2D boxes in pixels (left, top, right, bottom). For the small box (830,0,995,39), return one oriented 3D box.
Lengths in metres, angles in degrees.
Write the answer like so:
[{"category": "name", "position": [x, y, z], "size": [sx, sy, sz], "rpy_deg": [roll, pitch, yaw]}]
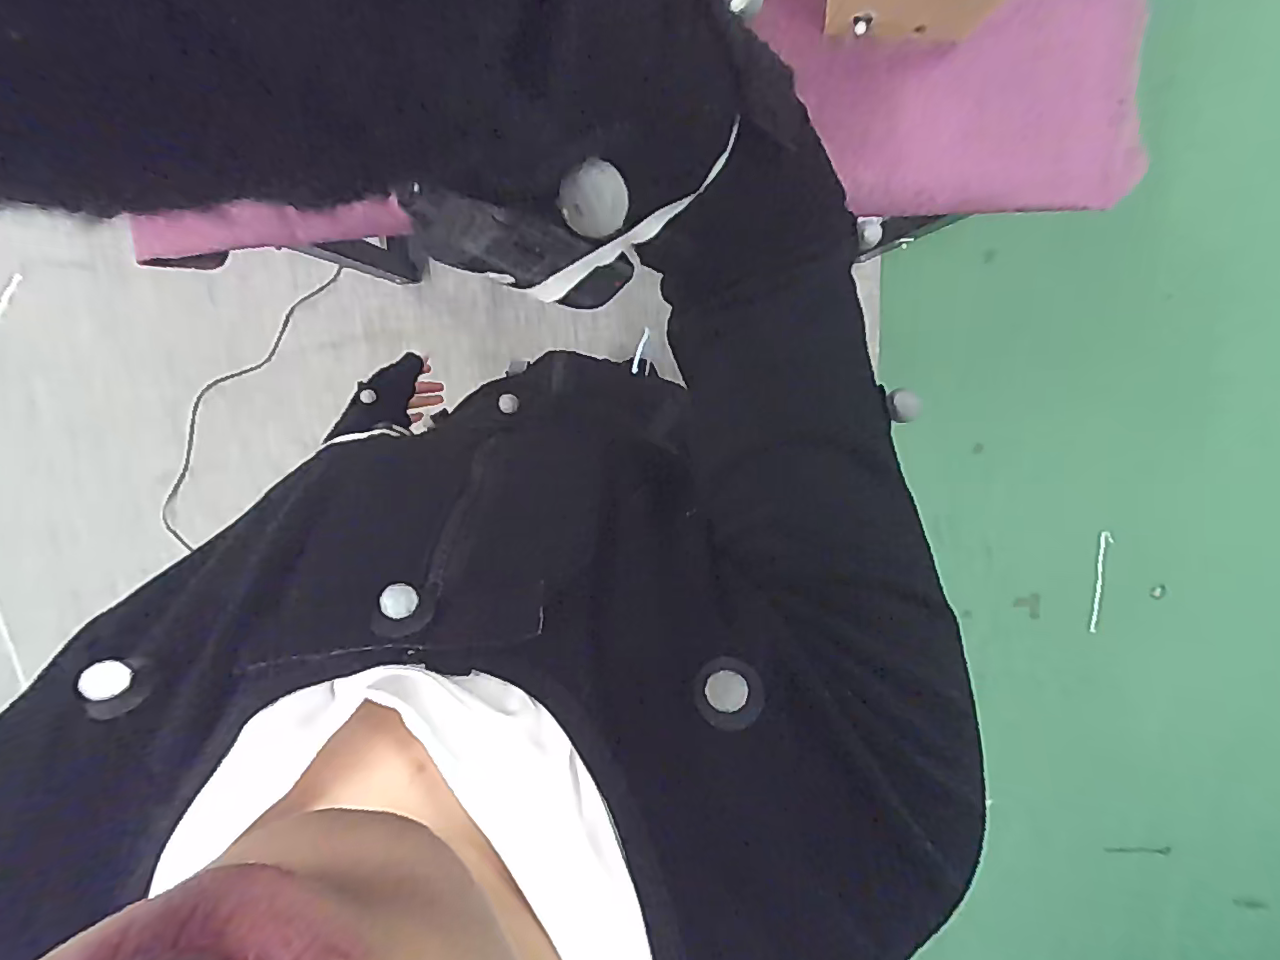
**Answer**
[{"category": "small box", "position": [0.302, -0.583, 0.536], "size": [0.168, 0.176, 0.179], "rpy_deg": [2, 102, -2]}]
